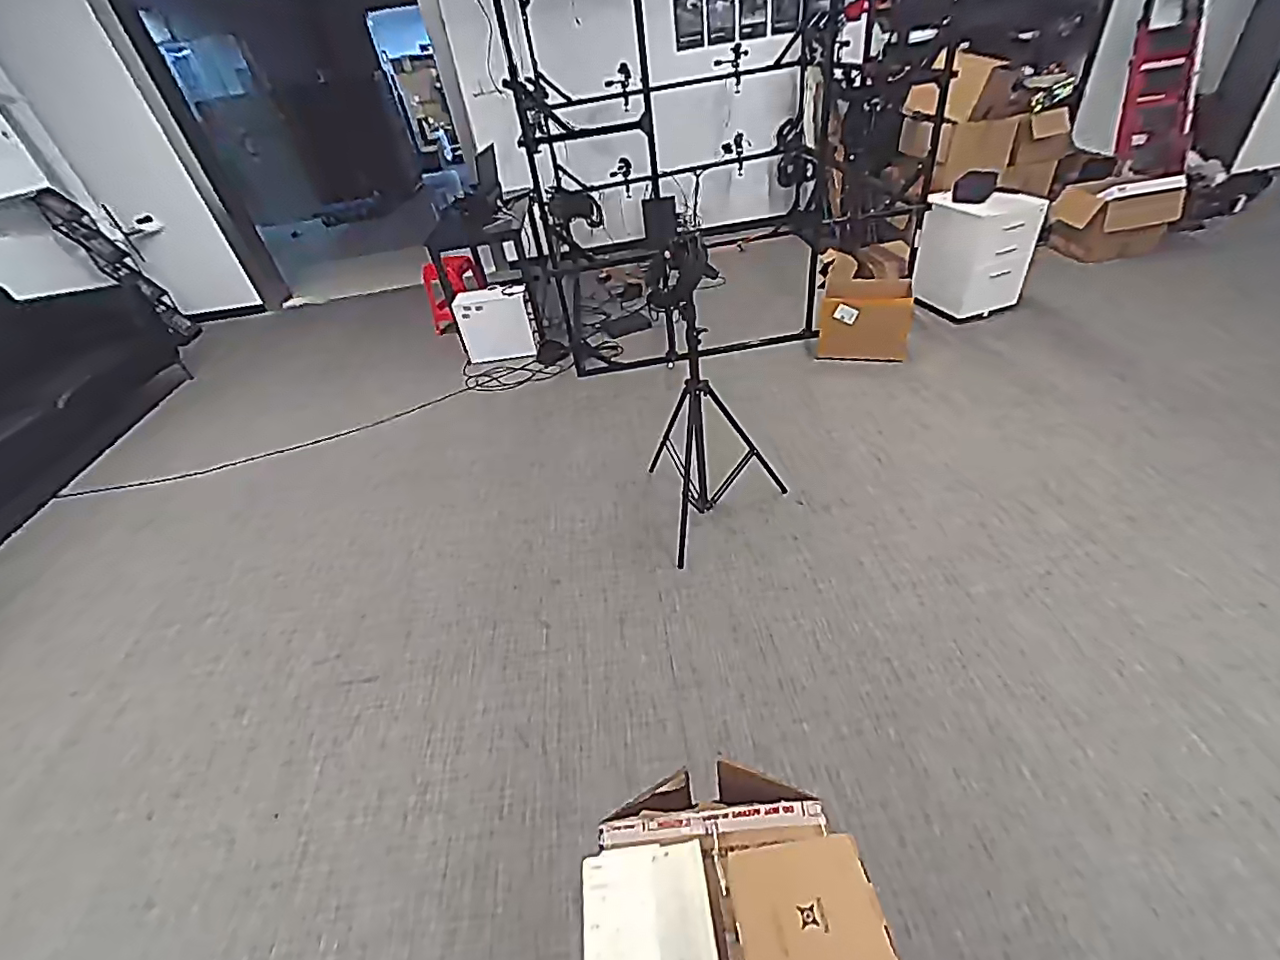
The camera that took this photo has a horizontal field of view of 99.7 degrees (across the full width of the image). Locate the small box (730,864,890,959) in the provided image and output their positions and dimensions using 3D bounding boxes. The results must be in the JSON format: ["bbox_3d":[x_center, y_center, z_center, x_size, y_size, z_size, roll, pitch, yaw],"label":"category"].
[{"bbox_3d":[0.224,0.643,0.718,0.179,0.176,0.168,-9,40,-2],"label":"small box"}]
